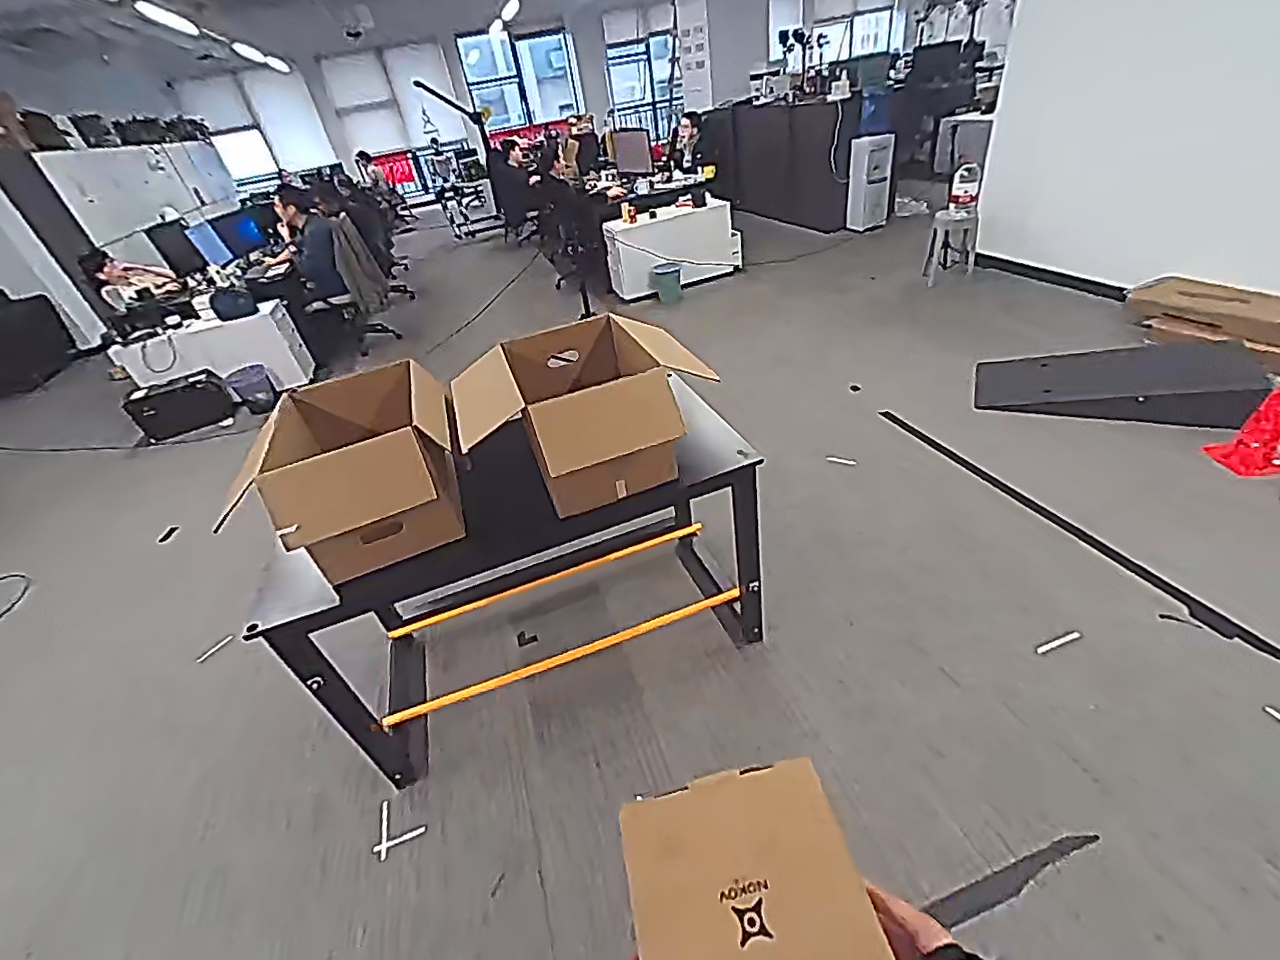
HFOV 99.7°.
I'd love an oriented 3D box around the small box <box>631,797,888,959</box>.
[{"bbox_3d":[0.096,0.389,0.423,0.168,0.176,0.179,-14,39,-2],"label":"small box"}]
